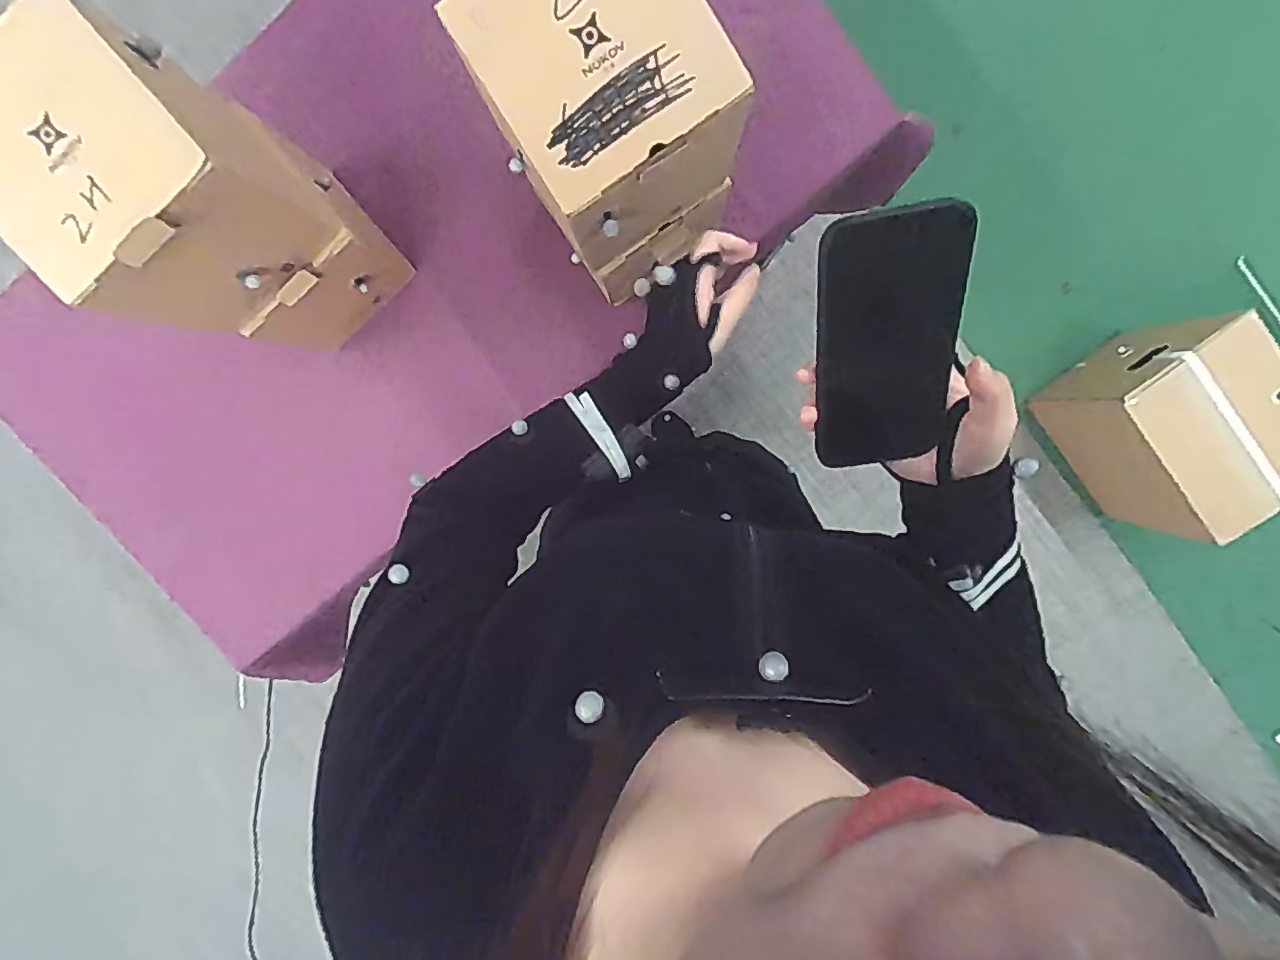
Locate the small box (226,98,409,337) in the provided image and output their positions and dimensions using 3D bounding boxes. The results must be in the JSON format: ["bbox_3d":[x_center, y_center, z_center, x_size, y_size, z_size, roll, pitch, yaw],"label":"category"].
[{"bbox_3d":[-0.419,-0.290,0.649,0.168,0.176,0.179,-39,95,6],"label":"small box"}]

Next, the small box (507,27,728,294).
[{"bbox_3d":[-0.022,-0.346,0.629,0.168,0.176,0.179,-34,96,6],"label":"small box"}]

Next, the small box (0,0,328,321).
[{"bbox_3d":[-0.437,-0.268,0.486,0.168,0.176,0.179,-40,95,6],"label":"small box"}]
